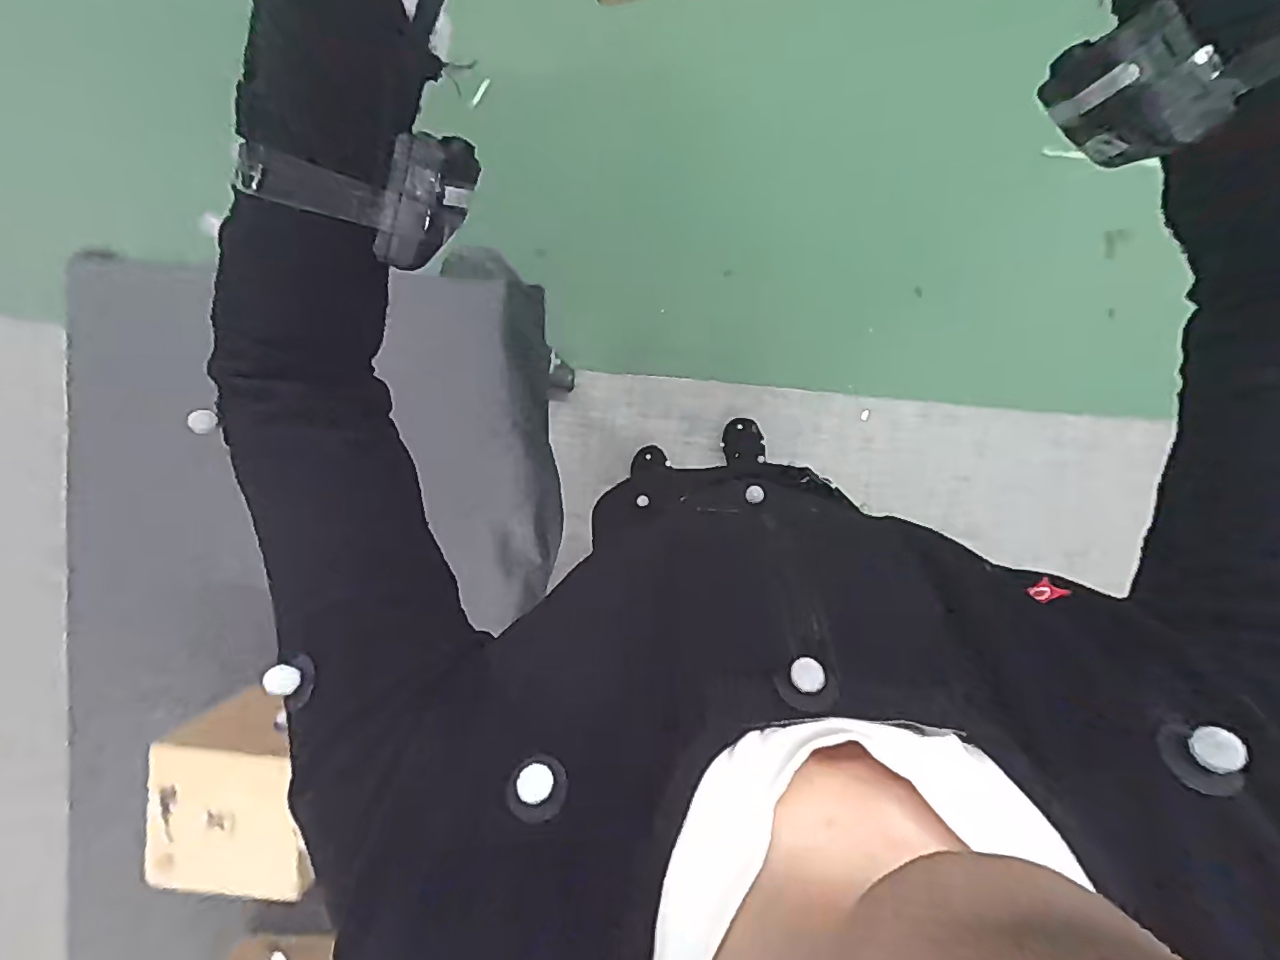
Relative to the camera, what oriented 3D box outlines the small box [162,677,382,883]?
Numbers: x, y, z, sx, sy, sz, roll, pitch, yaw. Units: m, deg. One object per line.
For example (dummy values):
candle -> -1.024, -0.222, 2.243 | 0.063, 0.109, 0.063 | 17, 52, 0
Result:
small box -> -0.456, 0.369, 0.694 | 0.179, 0.176, 0.168 | 5, 94, 1
